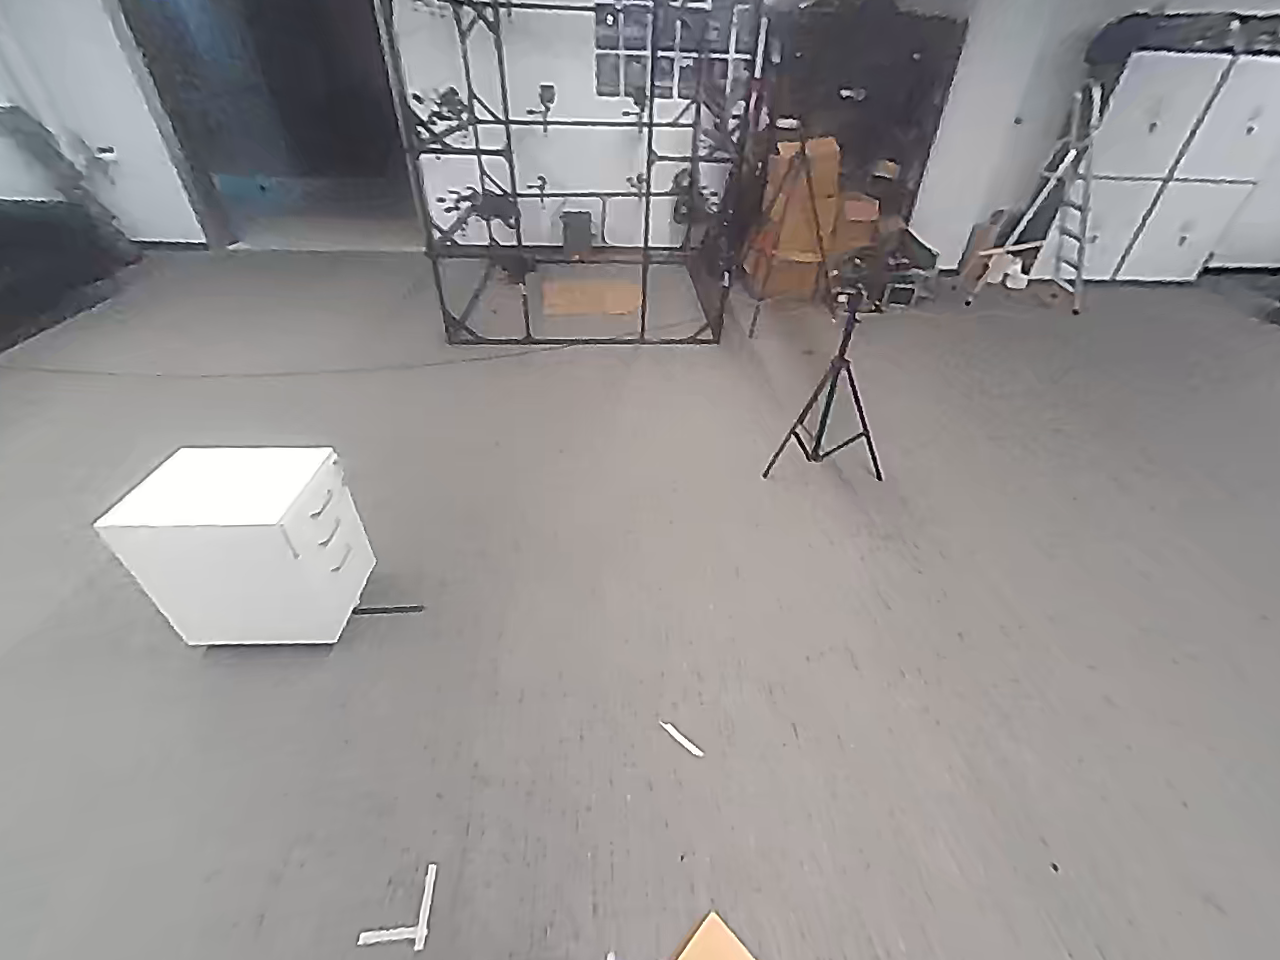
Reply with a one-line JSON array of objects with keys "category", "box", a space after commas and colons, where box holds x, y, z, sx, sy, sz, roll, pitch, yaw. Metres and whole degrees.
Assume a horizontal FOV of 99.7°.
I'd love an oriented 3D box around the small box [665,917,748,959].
[{"category": "small box", "box": [0.075, 0.662, 0.629, 0.168, 0.176, 0.179, 37, 56, 28]}]
